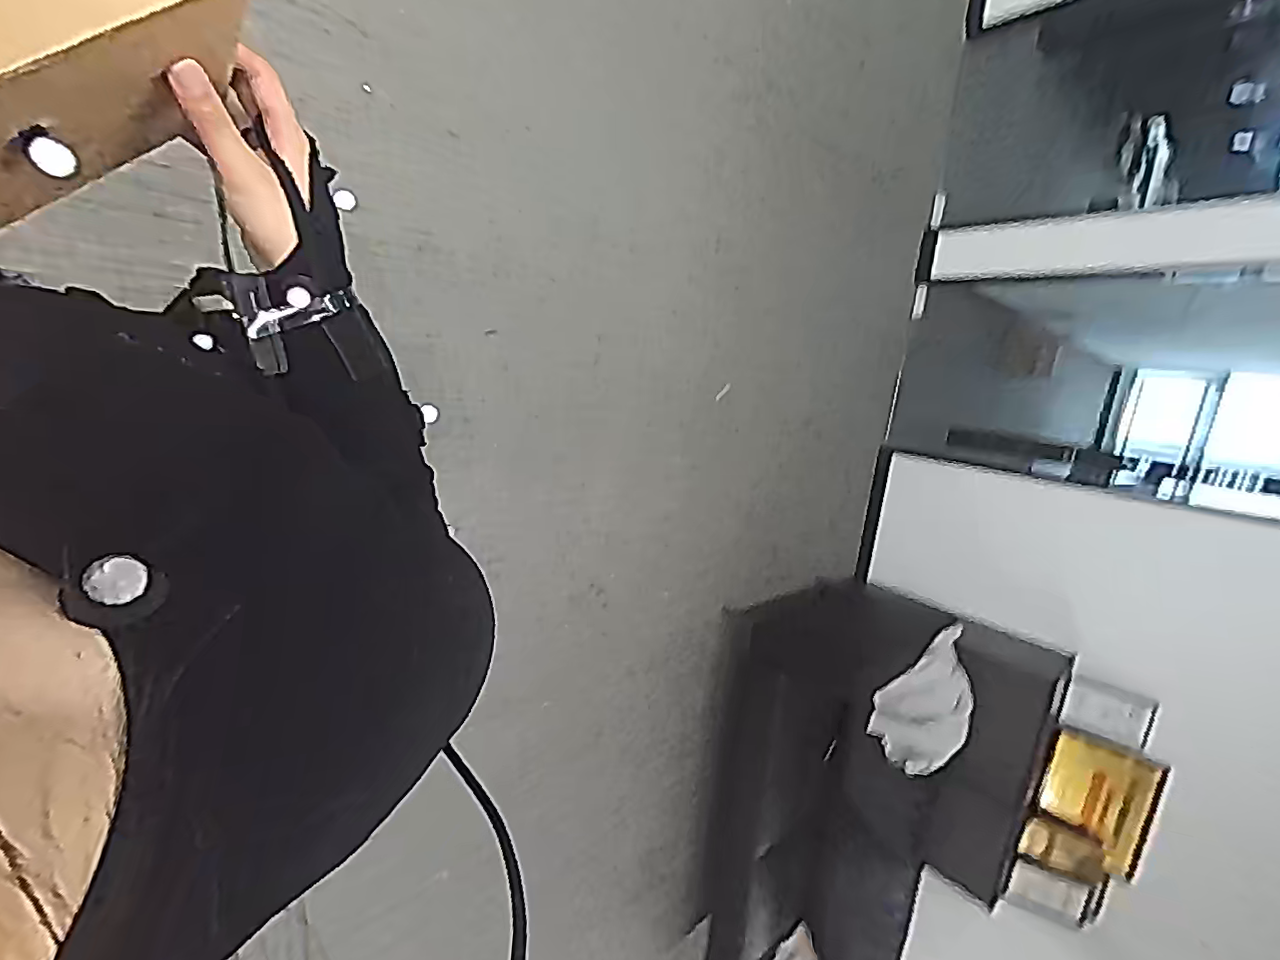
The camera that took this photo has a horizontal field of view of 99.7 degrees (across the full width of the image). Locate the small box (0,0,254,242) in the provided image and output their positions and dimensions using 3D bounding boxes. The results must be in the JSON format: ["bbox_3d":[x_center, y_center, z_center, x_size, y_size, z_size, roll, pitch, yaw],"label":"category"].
[{"bbox_3d":[-0.305,-0.219,0.221,0.179,0.176,0.168,-50,127,-22],"label":"small box"}]
